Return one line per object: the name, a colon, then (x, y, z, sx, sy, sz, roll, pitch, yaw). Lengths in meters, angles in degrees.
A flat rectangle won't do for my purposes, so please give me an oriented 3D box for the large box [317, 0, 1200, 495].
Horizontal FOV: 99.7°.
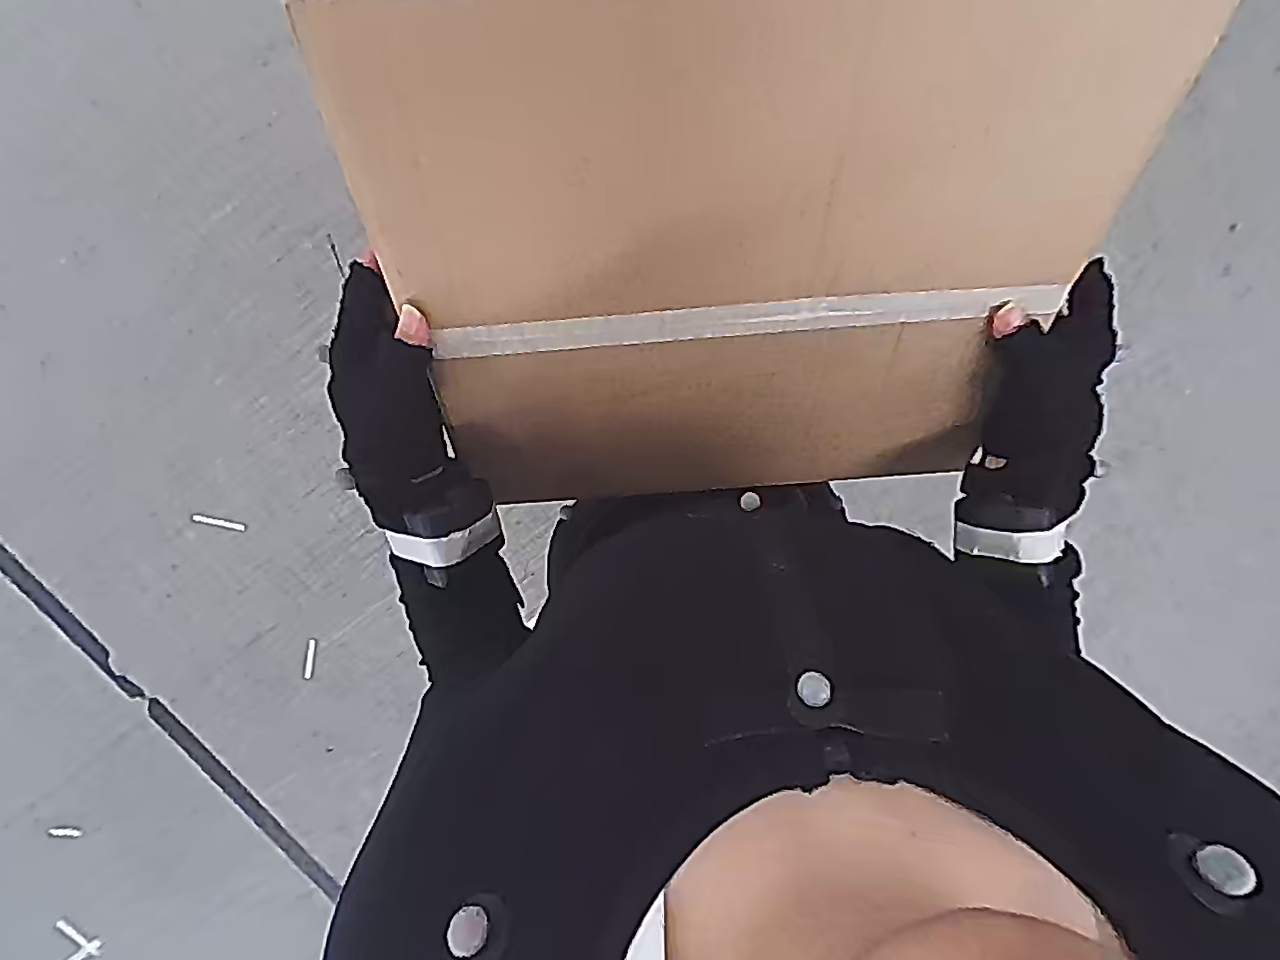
large box: (0.049, -0.216, 0.443, 0.408, 0.320, 0.320, -4, 138, -2)
